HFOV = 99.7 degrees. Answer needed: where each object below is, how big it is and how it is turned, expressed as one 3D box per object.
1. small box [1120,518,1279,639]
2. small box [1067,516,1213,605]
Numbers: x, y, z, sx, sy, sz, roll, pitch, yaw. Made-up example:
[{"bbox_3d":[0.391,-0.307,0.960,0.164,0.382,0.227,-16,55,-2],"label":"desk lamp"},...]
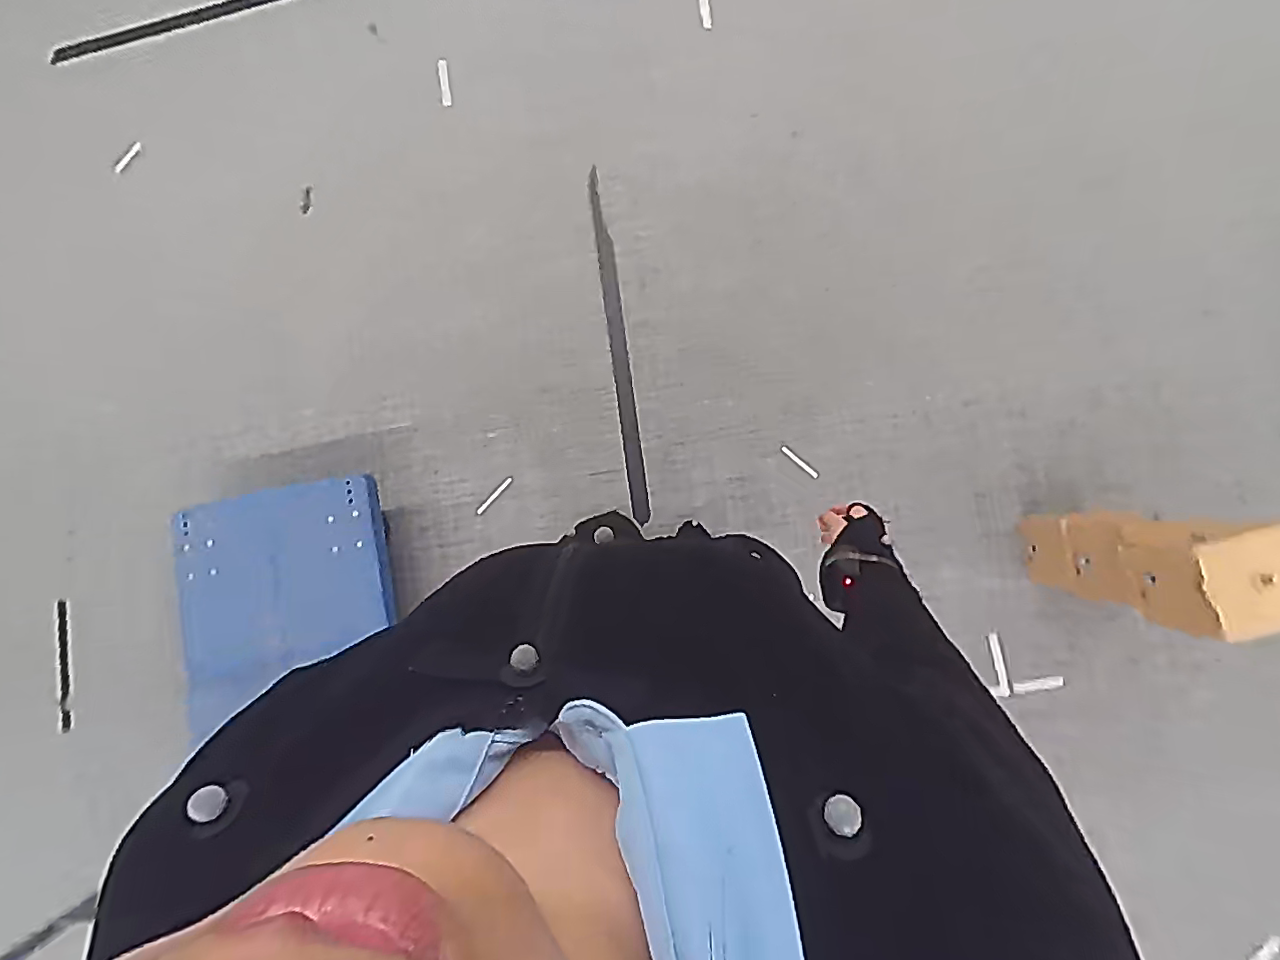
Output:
[{"bbox_3d":[1.037,0.167,0.971,0.179,0.176,0.168,-17,85,6],"label":"small box"},{"bbox_3d":[1.052,0.163,1.134,0.179,0.176,0.168,-5,85,7],"label":"small box"}]
